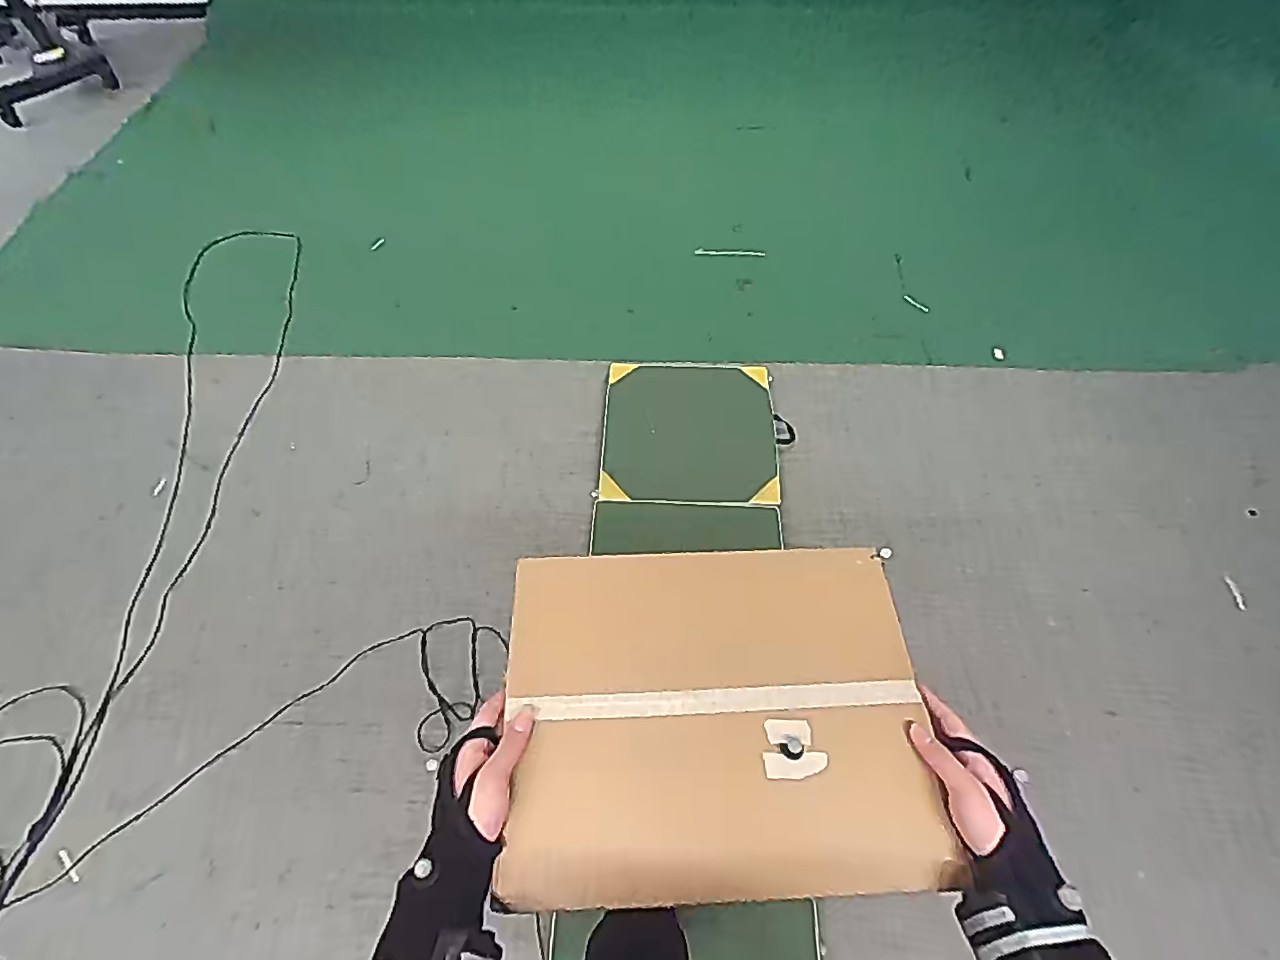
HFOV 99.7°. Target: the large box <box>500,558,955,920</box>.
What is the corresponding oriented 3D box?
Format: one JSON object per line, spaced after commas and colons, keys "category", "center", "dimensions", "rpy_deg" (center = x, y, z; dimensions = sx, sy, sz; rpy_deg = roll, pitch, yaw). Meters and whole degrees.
{"category": "large box", "center": [0.066, 0.307, 0.663], "dimensions": [0.408, 0.320, 0.320], "rpy_deg": [-2, 59, -2]}
